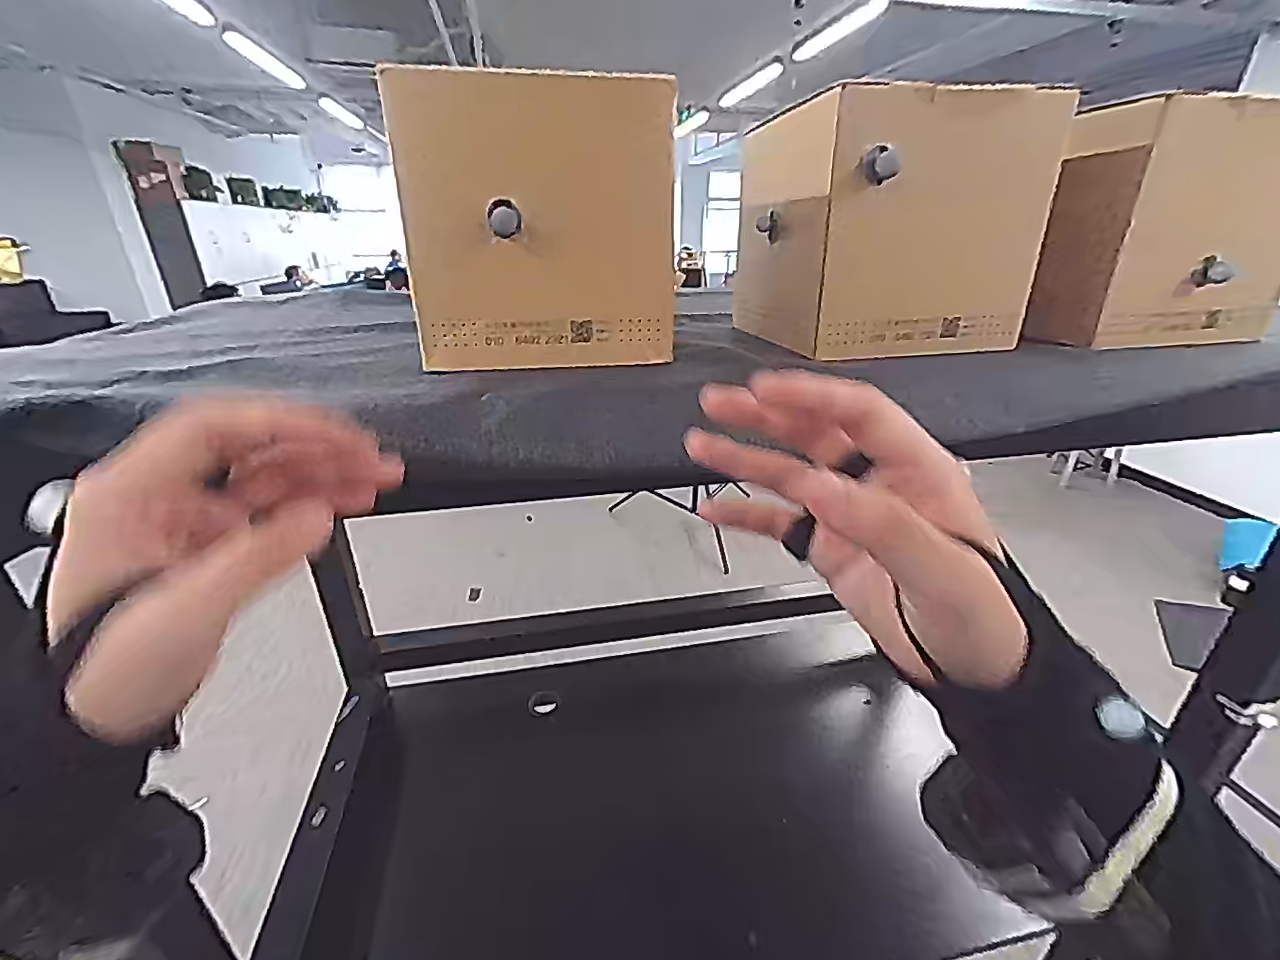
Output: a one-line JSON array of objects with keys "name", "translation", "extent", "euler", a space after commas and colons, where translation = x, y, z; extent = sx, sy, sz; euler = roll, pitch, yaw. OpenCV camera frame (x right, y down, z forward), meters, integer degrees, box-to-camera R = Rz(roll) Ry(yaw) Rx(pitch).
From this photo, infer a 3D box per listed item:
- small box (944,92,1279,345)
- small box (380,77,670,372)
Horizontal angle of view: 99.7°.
[{"name": "small box", "translation": [0.404, -0.215, 0.472], "extent": [0.168, 0.176, 0.179], "euler": [-6, 24, -9]}, {"name": "small box", "translation": [-0.072, -0.178, 0.407], "extent": [0.168, 0.176, 0.179], "euler": [-4, 23, -8]}]
